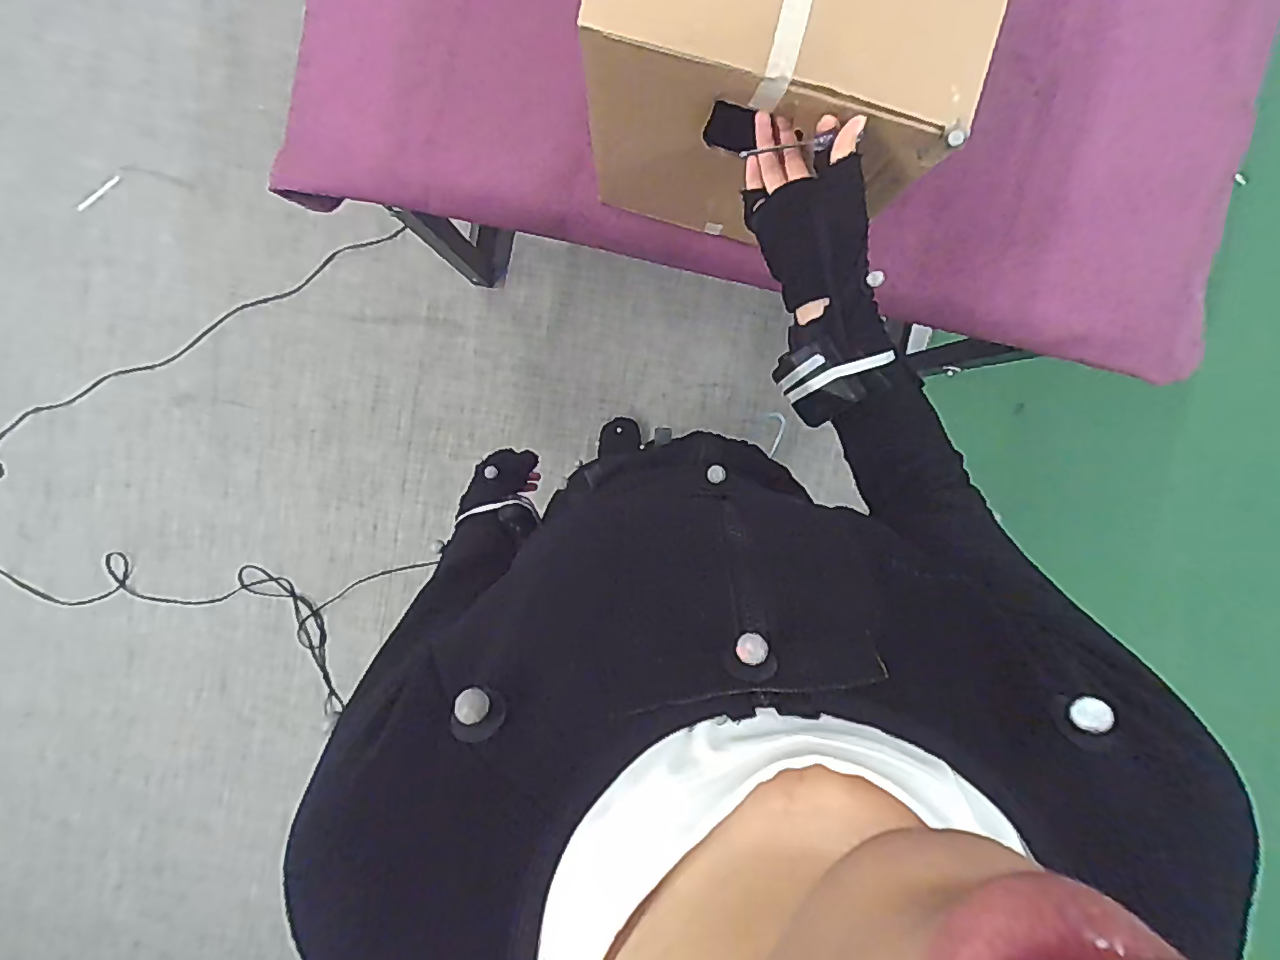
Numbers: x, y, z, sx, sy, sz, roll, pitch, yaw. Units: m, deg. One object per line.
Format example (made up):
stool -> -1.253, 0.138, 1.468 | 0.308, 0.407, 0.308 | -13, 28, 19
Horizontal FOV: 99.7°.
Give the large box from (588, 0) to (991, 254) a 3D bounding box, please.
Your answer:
large box -> 0.146, -0.515, 0.561 | 0.320, 0.320, 0.408 | 14, 95, -3
